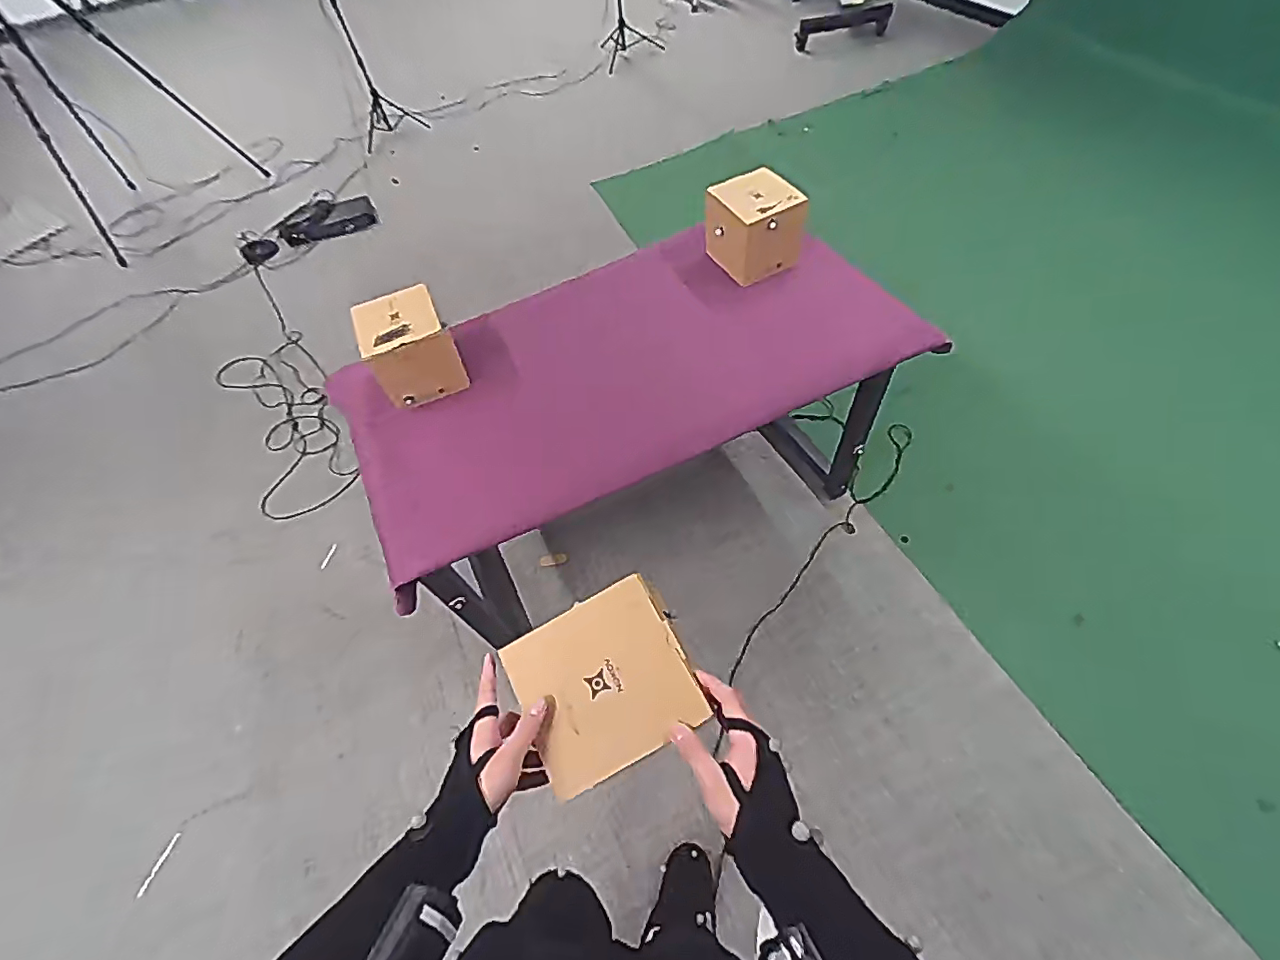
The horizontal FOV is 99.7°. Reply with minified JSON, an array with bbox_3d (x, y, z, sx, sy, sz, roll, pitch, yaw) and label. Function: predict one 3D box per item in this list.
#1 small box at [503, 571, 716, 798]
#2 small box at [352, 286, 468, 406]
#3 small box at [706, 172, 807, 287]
[{"bbox_3d":[-0.025,0.230,0.628,0.179,0.176,0.168,-30,66,-1],"label":"small box"},{"bbox_3d":[-0.496,-0.284,1.182,0.168,0.176,0.179,-23,58,-9],"label":"small box"},{"bbox_3d":[0.272,-0.602,1.303,0.168,0.176,0.179,-27,57,-9],"label":"small box"}]
